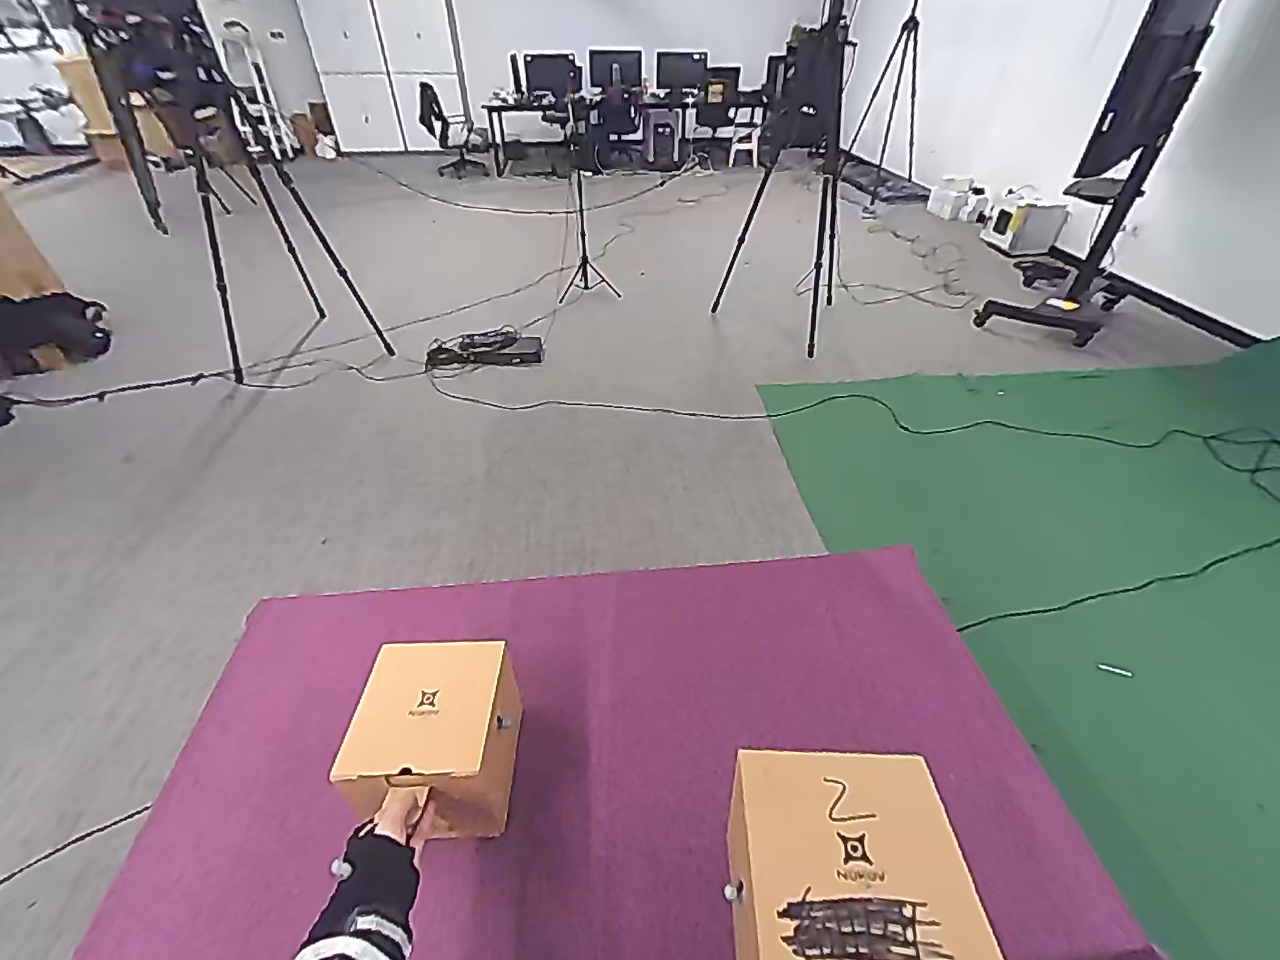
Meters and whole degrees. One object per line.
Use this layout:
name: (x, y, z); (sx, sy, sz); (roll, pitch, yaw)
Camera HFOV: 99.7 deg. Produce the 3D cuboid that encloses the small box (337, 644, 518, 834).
small box: (-0.263, 0.342, 0.721); (0.168, 0.176, 0.179); (-1, 38, -1)
